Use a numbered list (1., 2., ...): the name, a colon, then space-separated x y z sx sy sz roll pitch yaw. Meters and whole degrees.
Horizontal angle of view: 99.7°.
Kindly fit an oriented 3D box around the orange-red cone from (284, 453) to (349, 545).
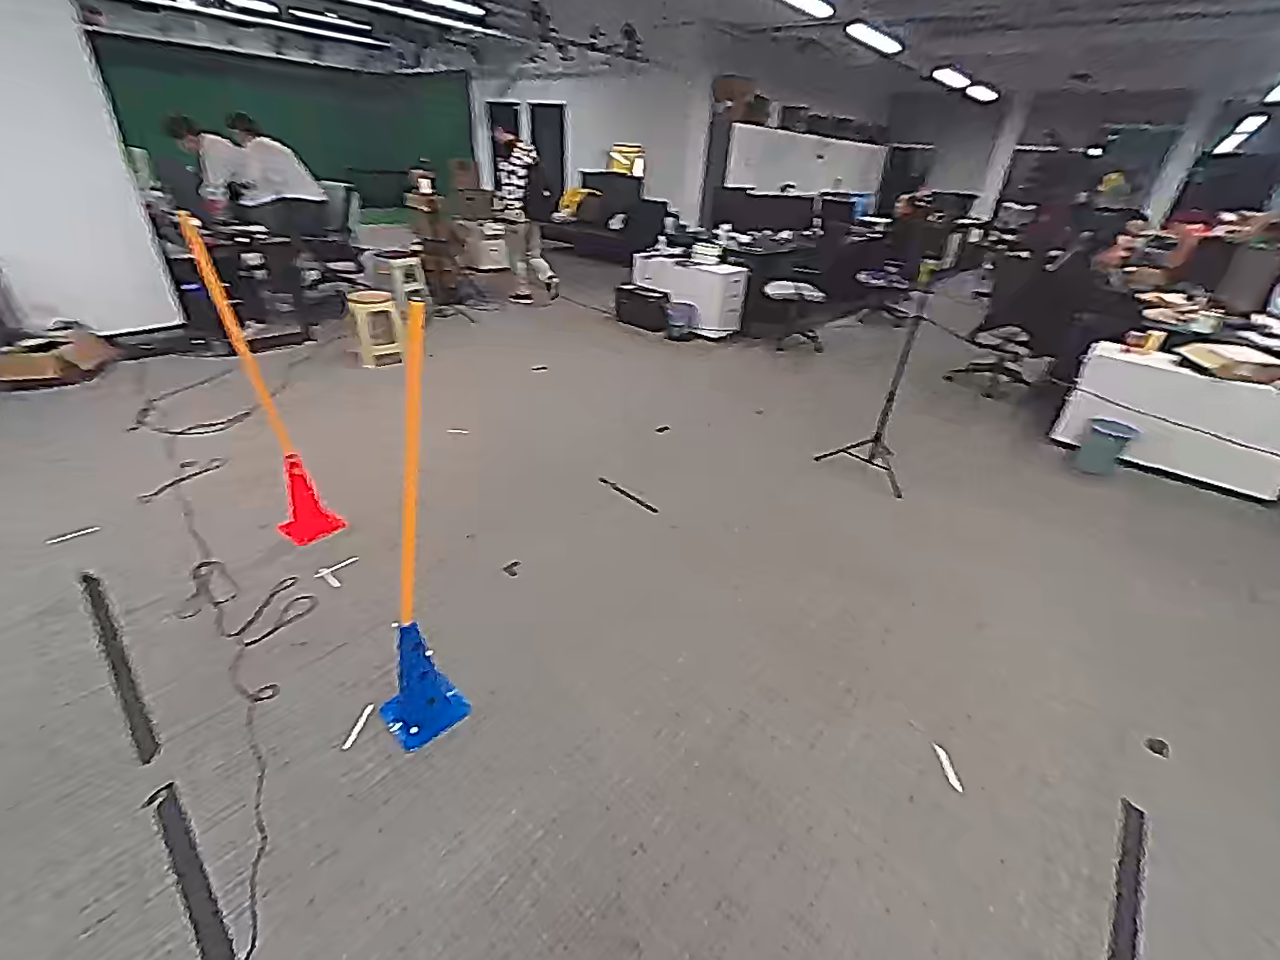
1. orange-red cone: -1.353 0.055 2.186 0.198 0.360 0.199 23 37 30

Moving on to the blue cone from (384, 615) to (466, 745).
1. blue cone: -0.619 0.530 1.501 0.193 0.380 0.192 -25 40 -39
